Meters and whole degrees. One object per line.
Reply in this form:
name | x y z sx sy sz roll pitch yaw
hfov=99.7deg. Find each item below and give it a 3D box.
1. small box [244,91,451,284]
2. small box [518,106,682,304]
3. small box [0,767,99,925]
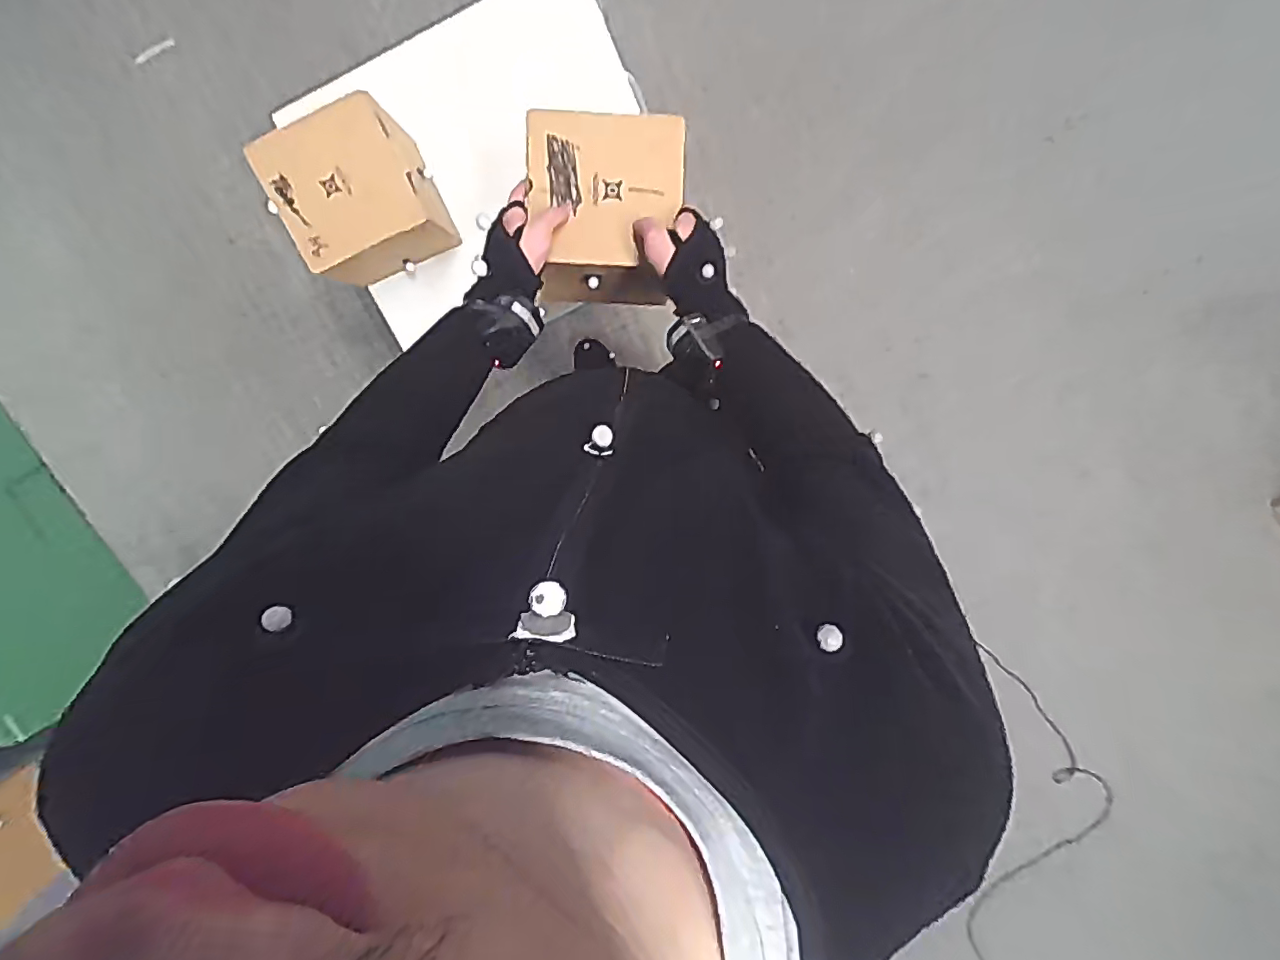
small box | -0.388 -0.394 0.762 0.179 0.176 0.168 -23 104 3
small box | -0.047 -0.323 0.668 0.179 0.176 0.168 1 94 -3
small box | -1.065 0.599 0.873 0.168 0.176 0.179 -23 106 6
